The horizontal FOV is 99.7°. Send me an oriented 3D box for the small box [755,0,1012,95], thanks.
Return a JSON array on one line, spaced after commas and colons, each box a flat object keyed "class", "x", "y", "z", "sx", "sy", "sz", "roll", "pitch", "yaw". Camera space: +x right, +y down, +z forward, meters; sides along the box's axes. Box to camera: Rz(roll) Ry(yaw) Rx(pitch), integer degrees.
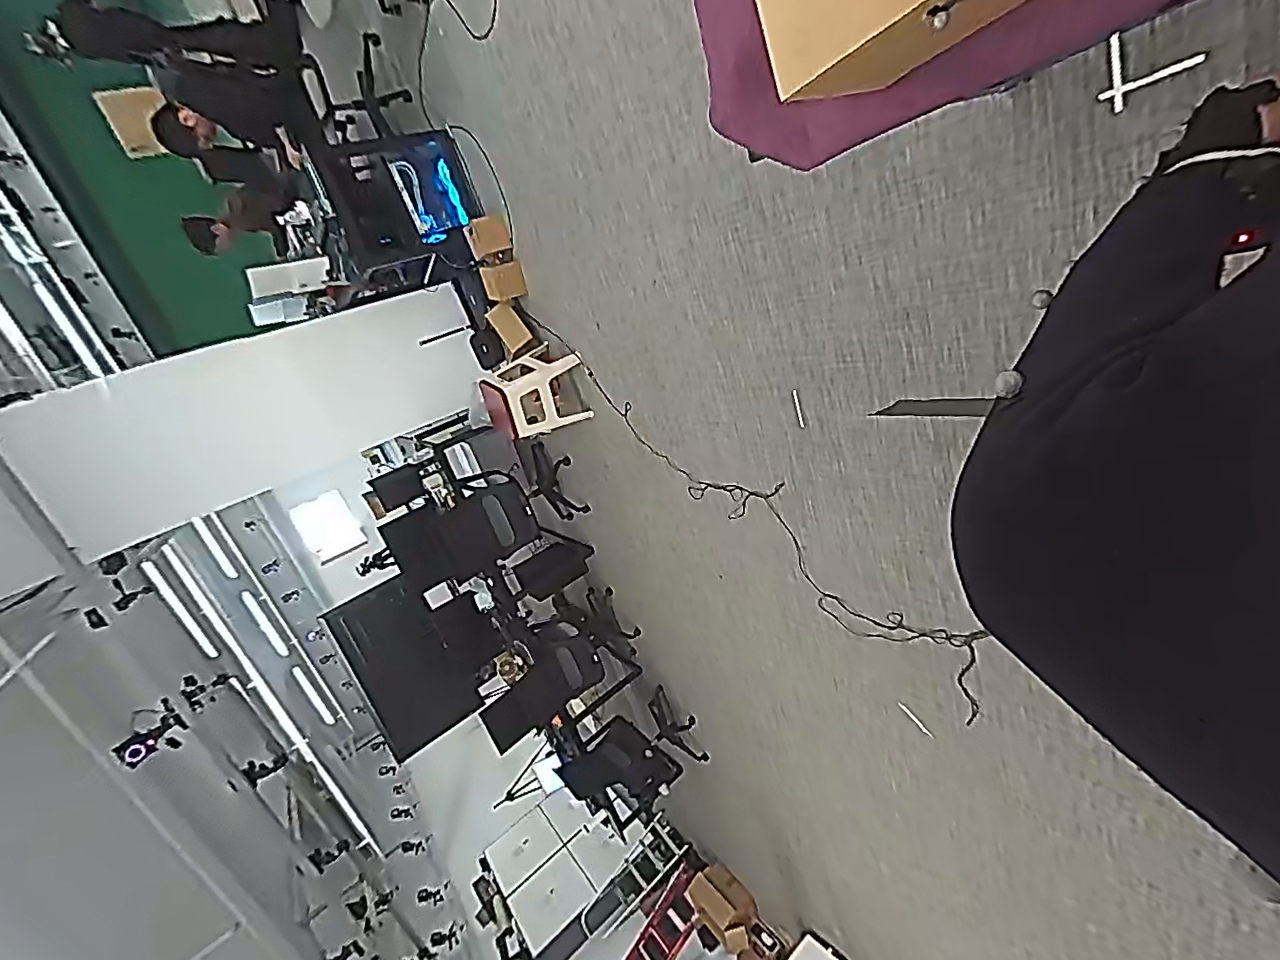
[{"class": "small box", "x": 0.215, "y": -0.466, "z": 0.461, "sx": 0.179, "sy": 0.176, "sz": 0.168, "roll": 3, "pitch": 117, "yaw": 56}]
